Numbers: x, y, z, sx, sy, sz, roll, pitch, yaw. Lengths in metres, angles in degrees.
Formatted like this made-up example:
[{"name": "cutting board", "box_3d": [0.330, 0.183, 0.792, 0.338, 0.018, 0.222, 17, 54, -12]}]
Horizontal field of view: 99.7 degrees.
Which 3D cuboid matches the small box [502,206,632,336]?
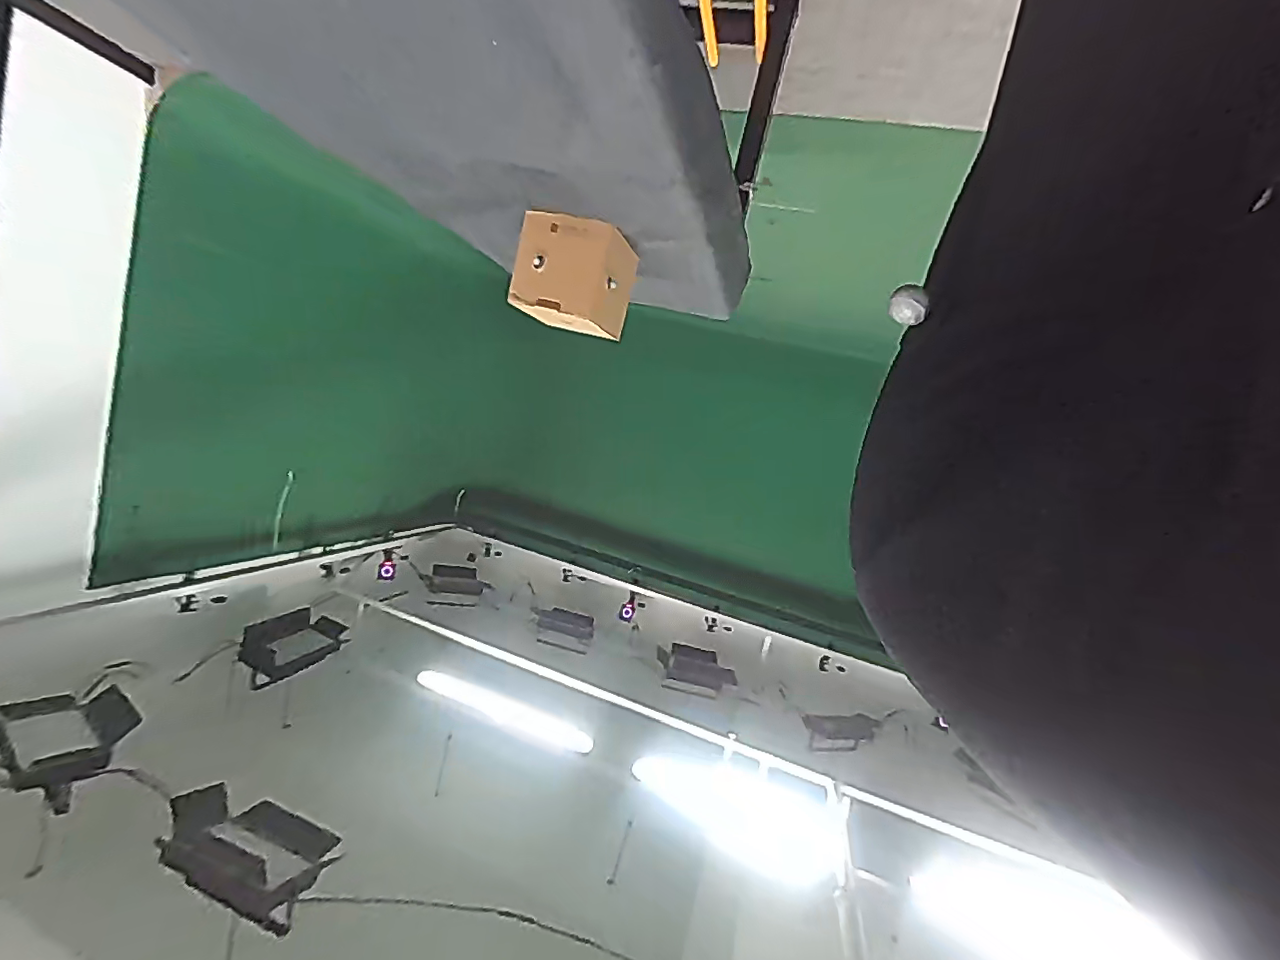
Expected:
[{"name": "small box", "box_3d": [-0.128, -0.382, 1.002, 0.168, 0.176, 0.179, 17, -173, 13]}]
